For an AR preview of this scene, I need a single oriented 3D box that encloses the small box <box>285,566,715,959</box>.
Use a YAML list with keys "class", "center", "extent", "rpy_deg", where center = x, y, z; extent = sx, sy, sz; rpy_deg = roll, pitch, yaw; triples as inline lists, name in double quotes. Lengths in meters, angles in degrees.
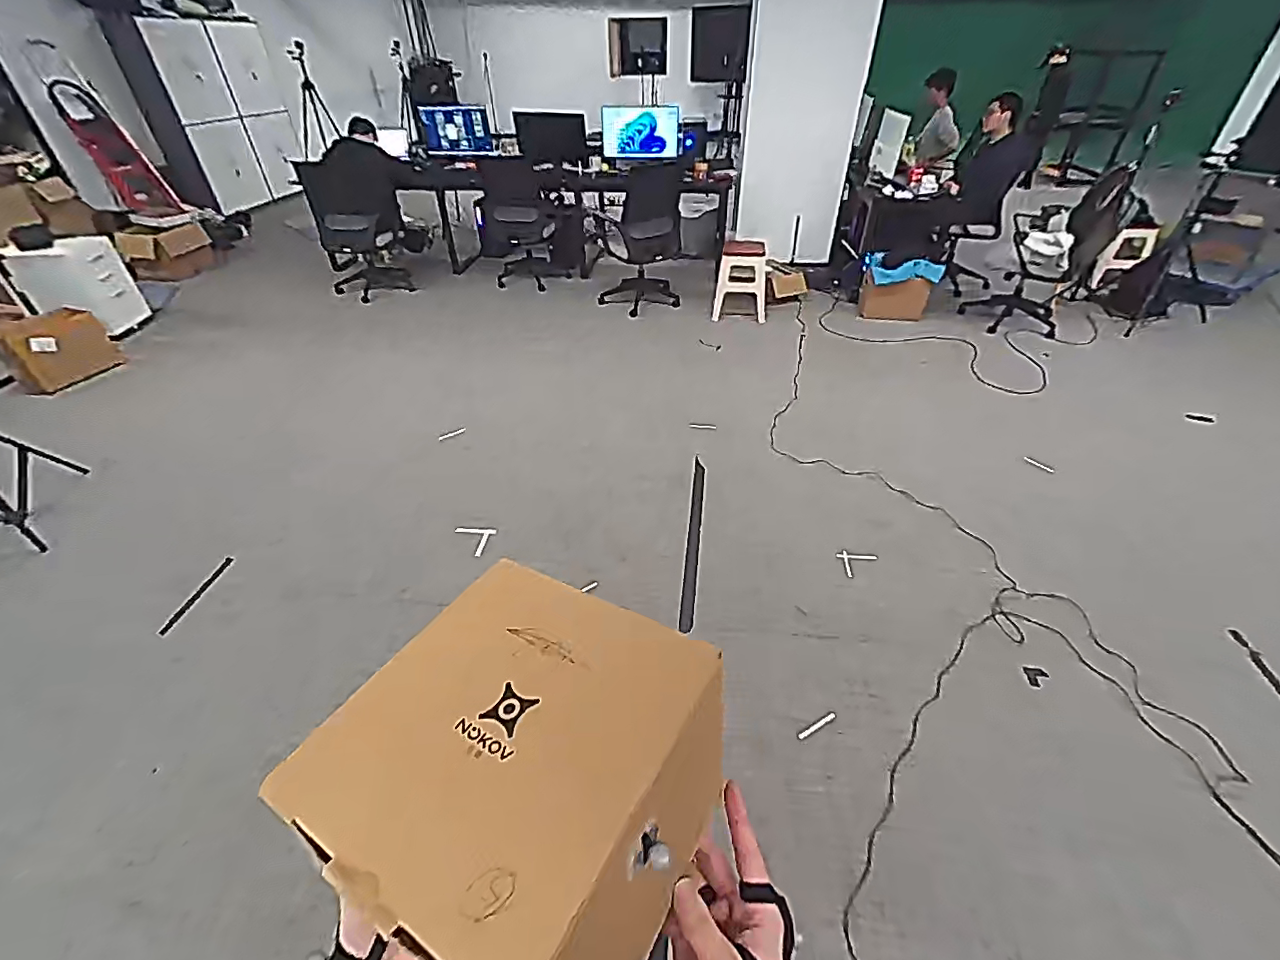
- class: "small box"
  center: [-0.059, 0.190, 0.335]
  extent: [0.168, 0.176, 0.179]
  rpy_deg: [15, 41, 27]
